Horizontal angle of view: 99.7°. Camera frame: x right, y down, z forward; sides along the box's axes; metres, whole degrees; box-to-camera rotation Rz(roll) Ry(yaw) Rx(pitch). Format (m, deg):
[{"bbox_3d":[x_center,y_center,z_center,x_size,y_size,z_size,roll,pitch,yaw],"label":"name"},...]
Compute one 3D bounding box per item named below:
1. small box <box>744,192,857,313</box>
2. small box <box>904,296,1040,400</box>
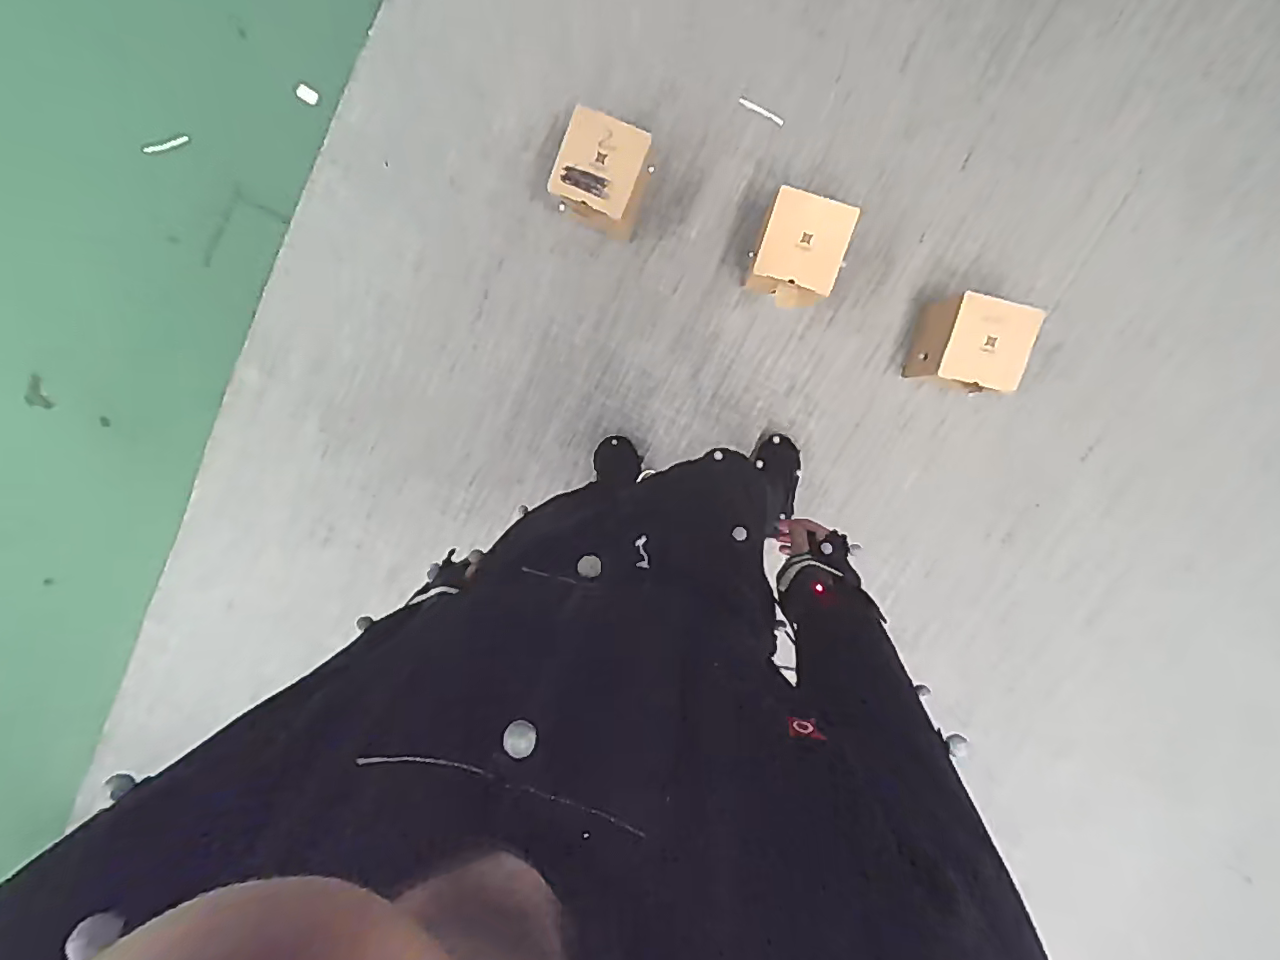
[{"bbox_3d":[0.332,-0.477,1.158,0.168,0.176,0.179,18,99,1],"label":"small box"},{"bbox_3d":[0.701,-0.275,1.167,0.168,0.176,0.179,14,98,0],"label":"small box"}]
